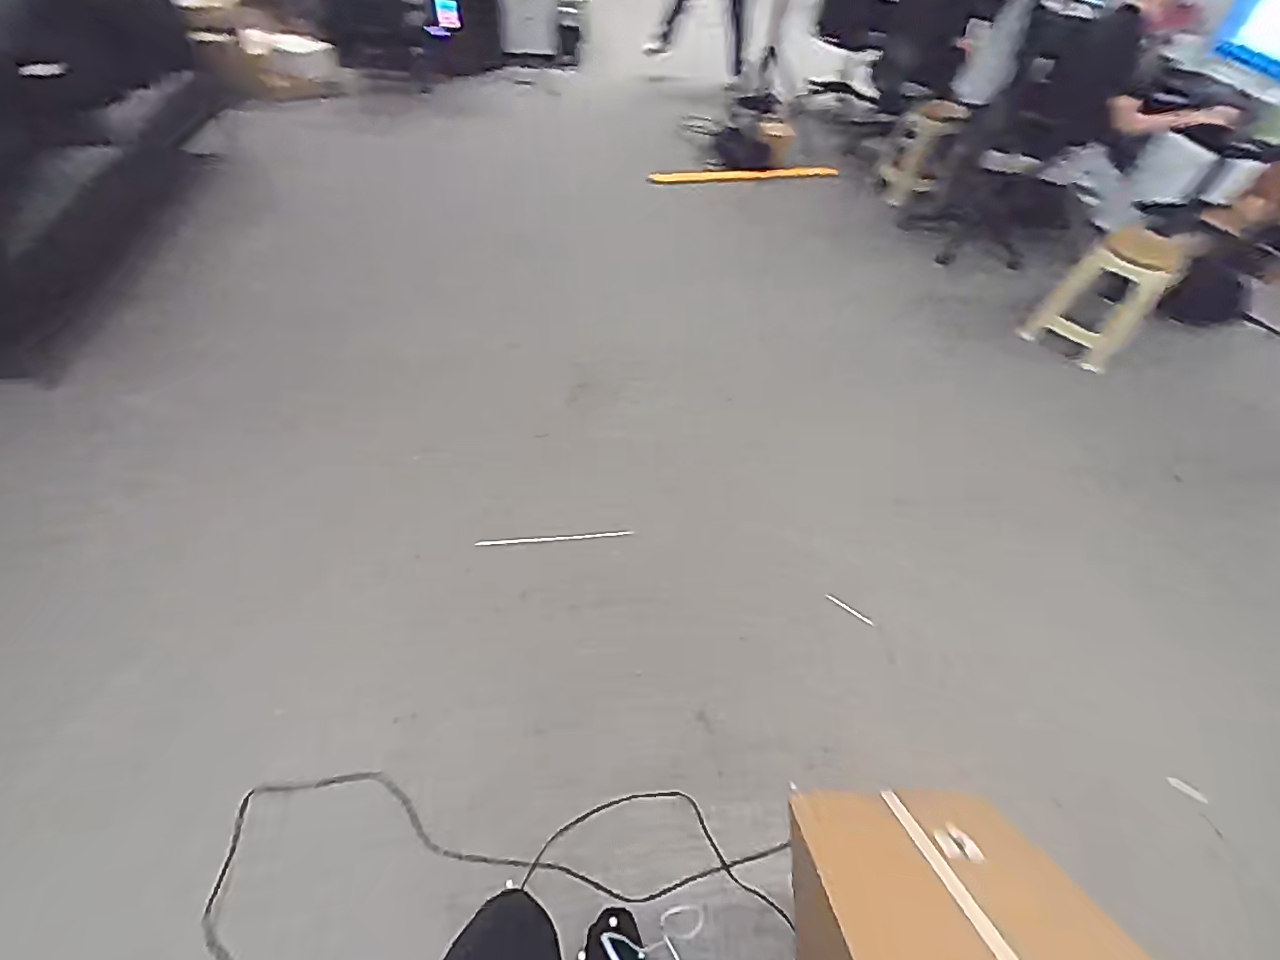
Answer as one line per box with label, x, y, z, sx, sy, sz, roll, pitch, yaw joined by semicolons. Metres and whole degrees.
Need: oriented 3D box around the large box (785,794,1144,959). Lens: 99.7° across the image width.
large box;0.396;0.672;0.691;0.320;0.408;0.320;-2;88;2
